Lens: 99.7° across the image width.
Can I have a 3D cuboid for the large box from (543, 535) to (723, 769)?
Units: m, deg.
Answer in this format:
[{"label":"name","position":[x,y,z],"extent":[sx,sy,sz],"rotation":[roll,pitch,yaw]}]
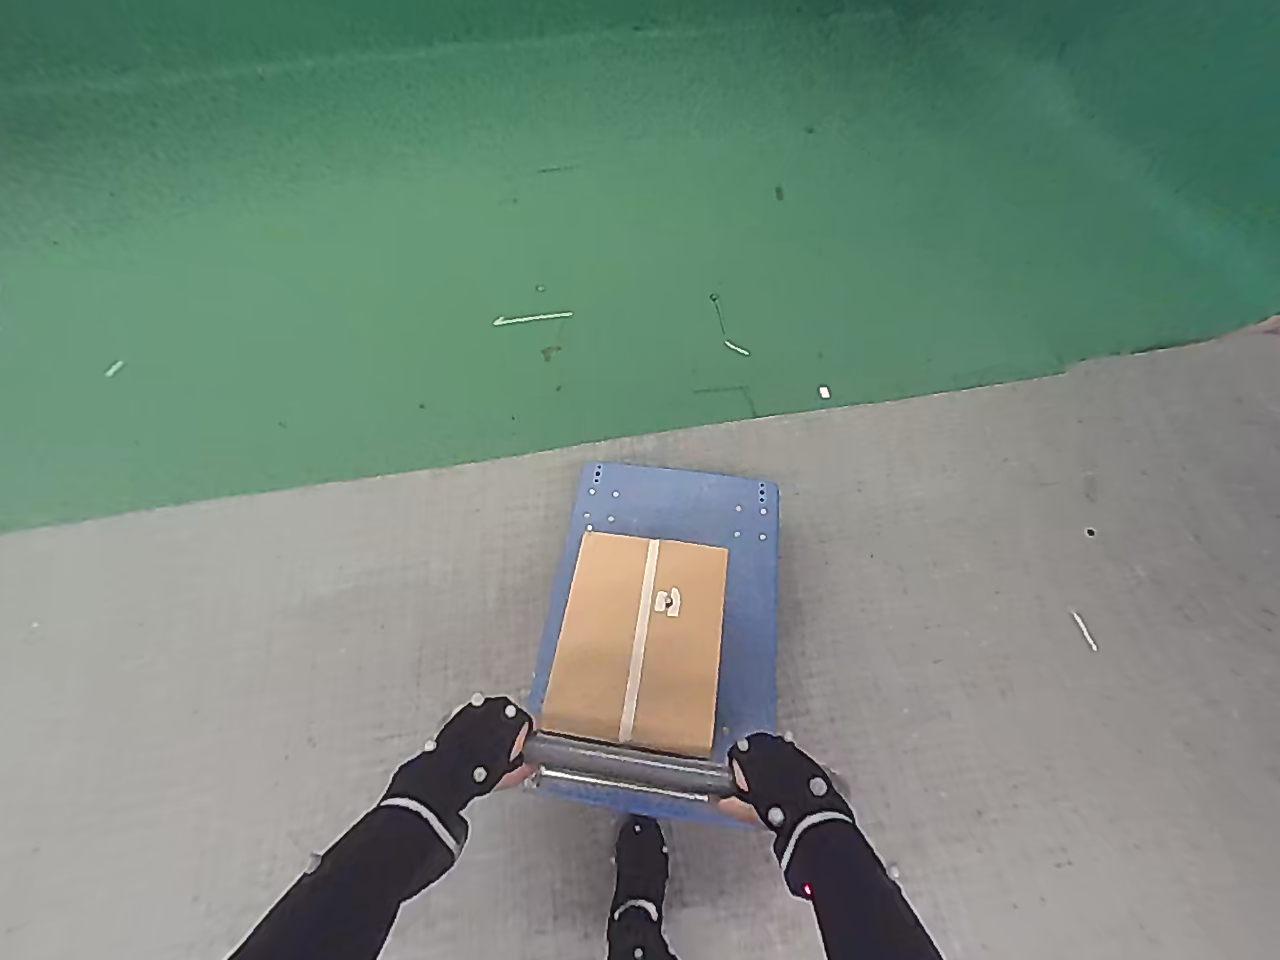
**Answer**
[{"label":"large box","position":[0.004,0.381,1.188],"extent":[0.320,0.320,0.408],"rotation":[7,58,5]}]
